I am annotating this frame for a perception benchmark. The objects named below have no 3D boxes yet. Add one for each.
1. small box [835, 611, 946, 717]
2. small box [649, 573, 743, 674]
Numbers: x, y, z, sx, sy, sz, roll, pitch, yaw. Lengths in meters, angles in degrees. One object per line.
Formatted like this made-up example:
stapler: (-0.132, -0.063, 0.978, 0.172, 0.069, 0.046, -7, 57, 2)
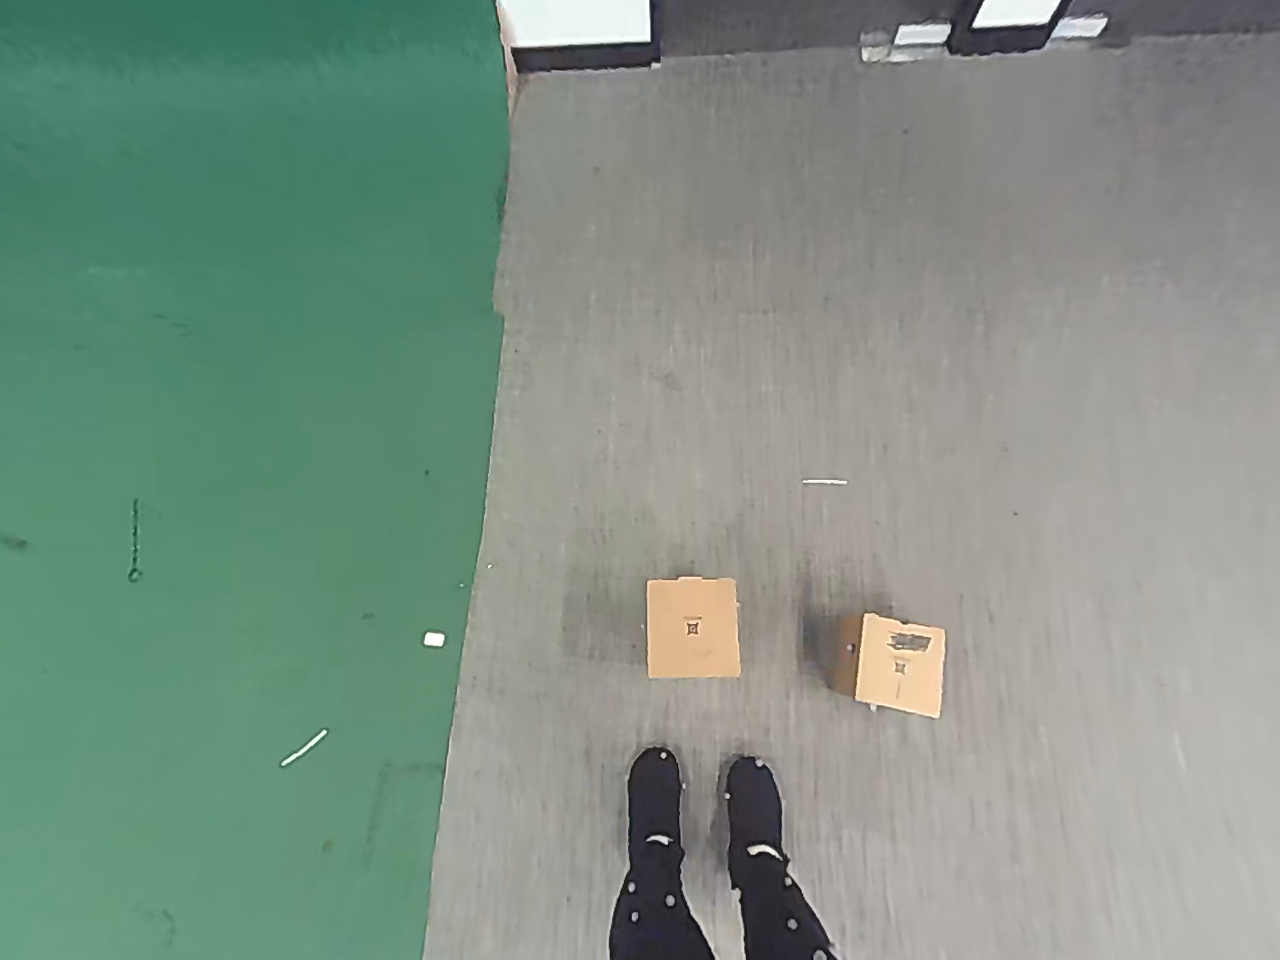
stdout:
small box: (0.528, 0.387, 1.156, 0.168, 0.176, 0.179, 11, 75, 7)
small box: (0.102, 0.280, 1.045, 0.168, 0.176, 0.179, -2, 74, 4)
